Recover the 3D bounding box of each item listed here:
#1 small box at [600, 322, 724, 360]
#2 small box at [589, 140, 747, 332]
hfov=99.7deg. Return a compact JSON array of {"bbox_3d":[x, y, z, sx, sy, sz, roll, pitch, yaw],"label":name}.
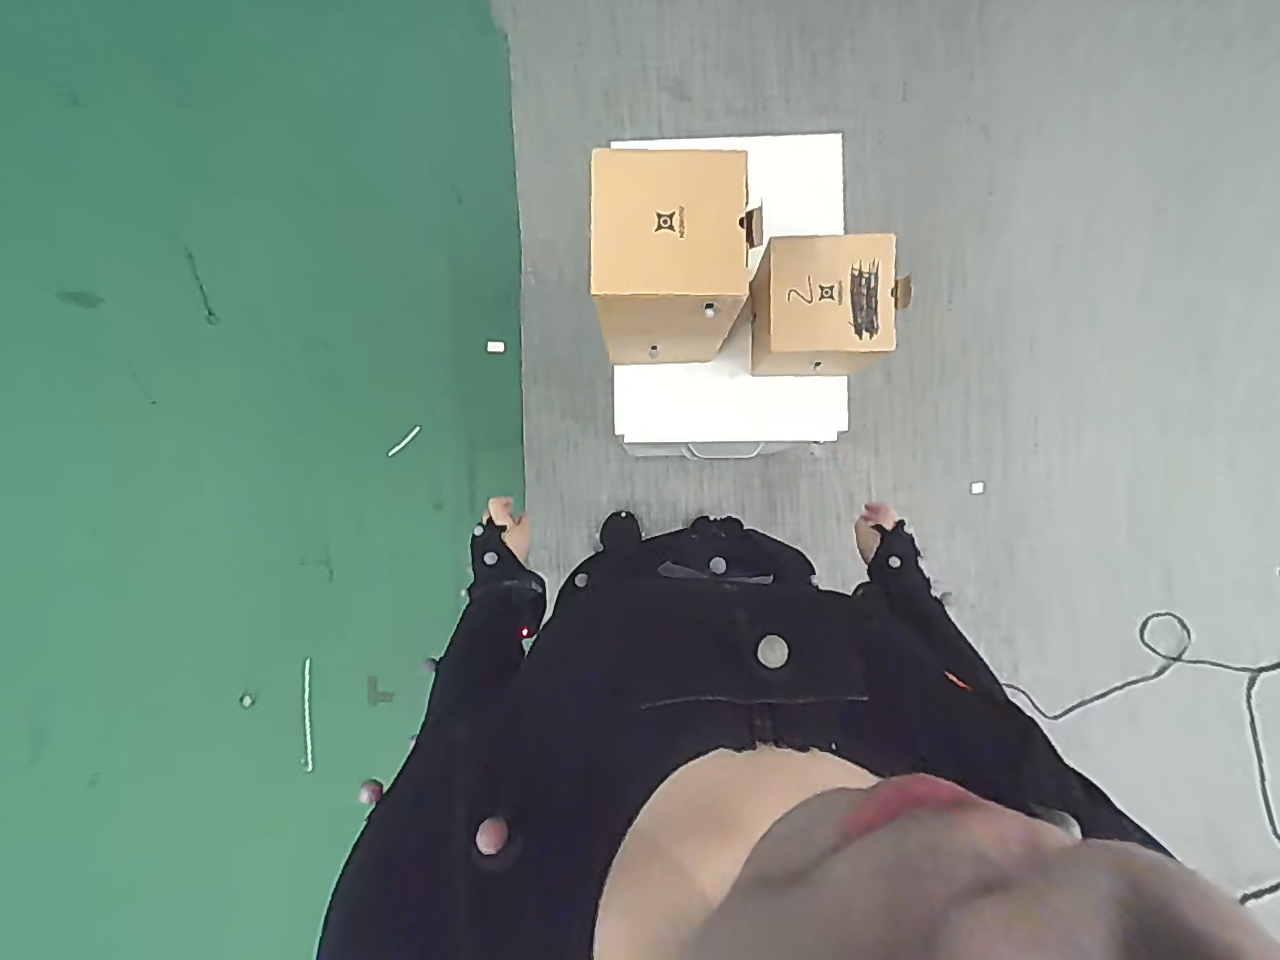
[{"bbox_3d":[0.031,-0.288,0.838,0.179,0.176,0.168,-2,89,1],"label":"small box"},{"bbox_3d":[0.031,-0.289,0.674,0.179,0.176,0.168,0,88,-1],"label":"small box"}]
